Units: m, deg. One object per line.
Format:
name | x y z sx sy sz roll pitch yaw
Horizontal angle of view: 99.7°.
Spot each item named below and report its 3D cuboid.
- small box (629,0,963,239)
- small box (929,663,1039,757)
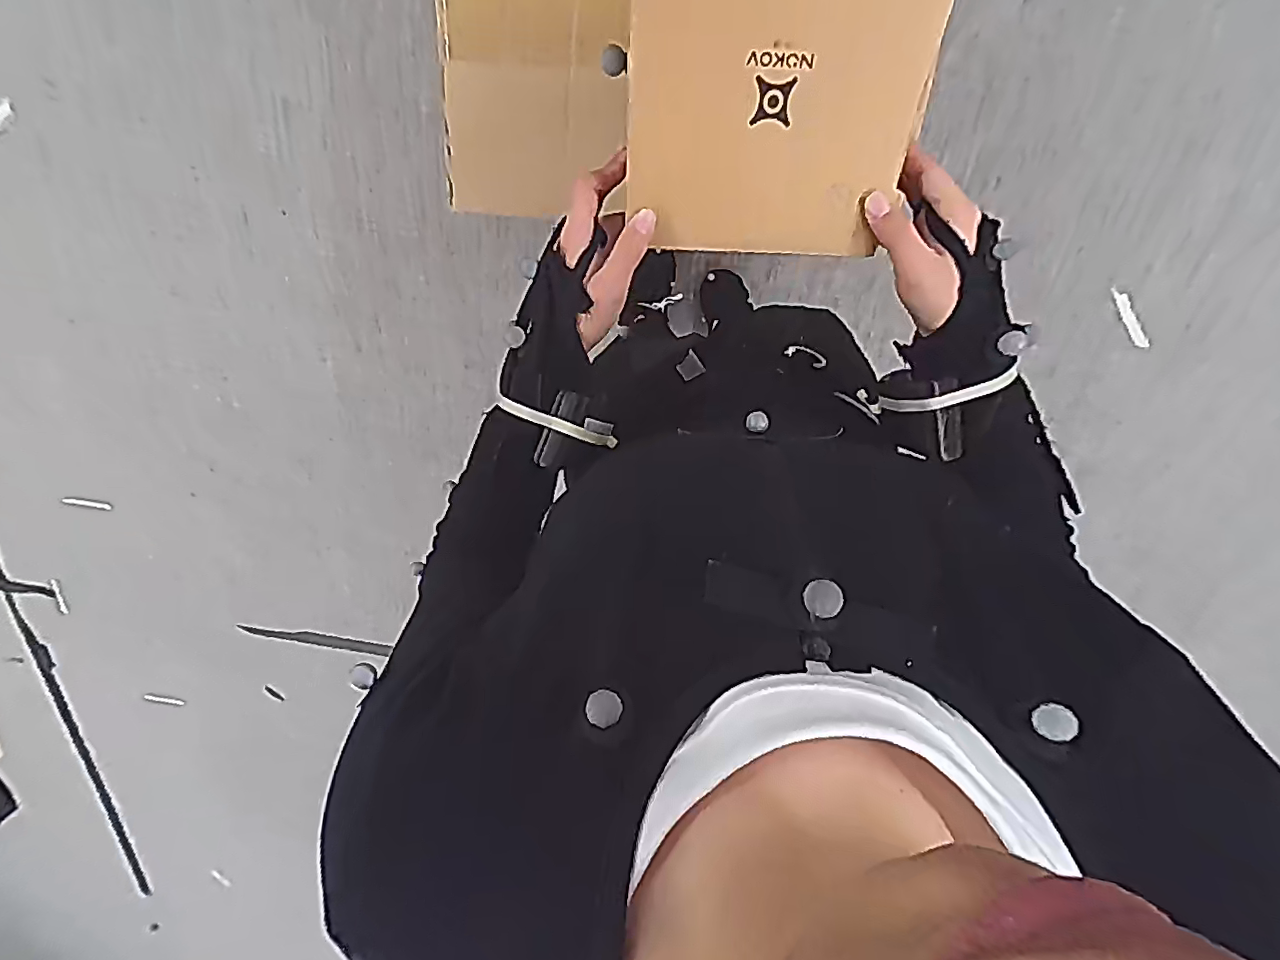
small box | 0.082 -0.276 0.348 0.168 0.176 0.179 3 131 0
small box | 0.957 0.640 1.521 0.179 0.176 0.168 10 112 2
